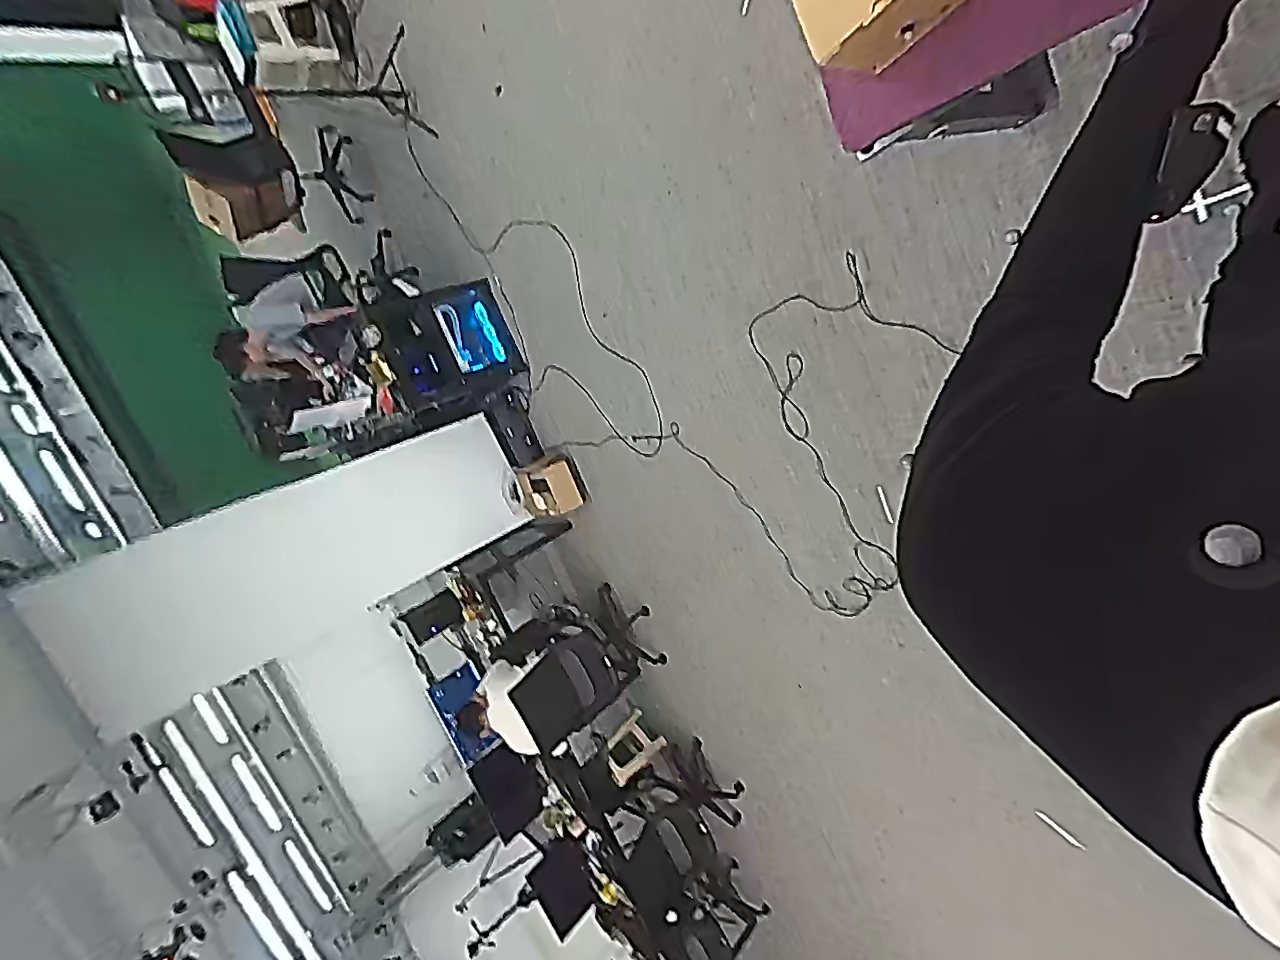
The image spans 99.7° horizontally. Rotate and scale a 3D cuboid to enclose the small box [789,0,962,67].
[{"bbox_3d":[0.279,-0.625,0.632,0.168,0.176,0.179,-18,101,52],"label":"small box"}]
